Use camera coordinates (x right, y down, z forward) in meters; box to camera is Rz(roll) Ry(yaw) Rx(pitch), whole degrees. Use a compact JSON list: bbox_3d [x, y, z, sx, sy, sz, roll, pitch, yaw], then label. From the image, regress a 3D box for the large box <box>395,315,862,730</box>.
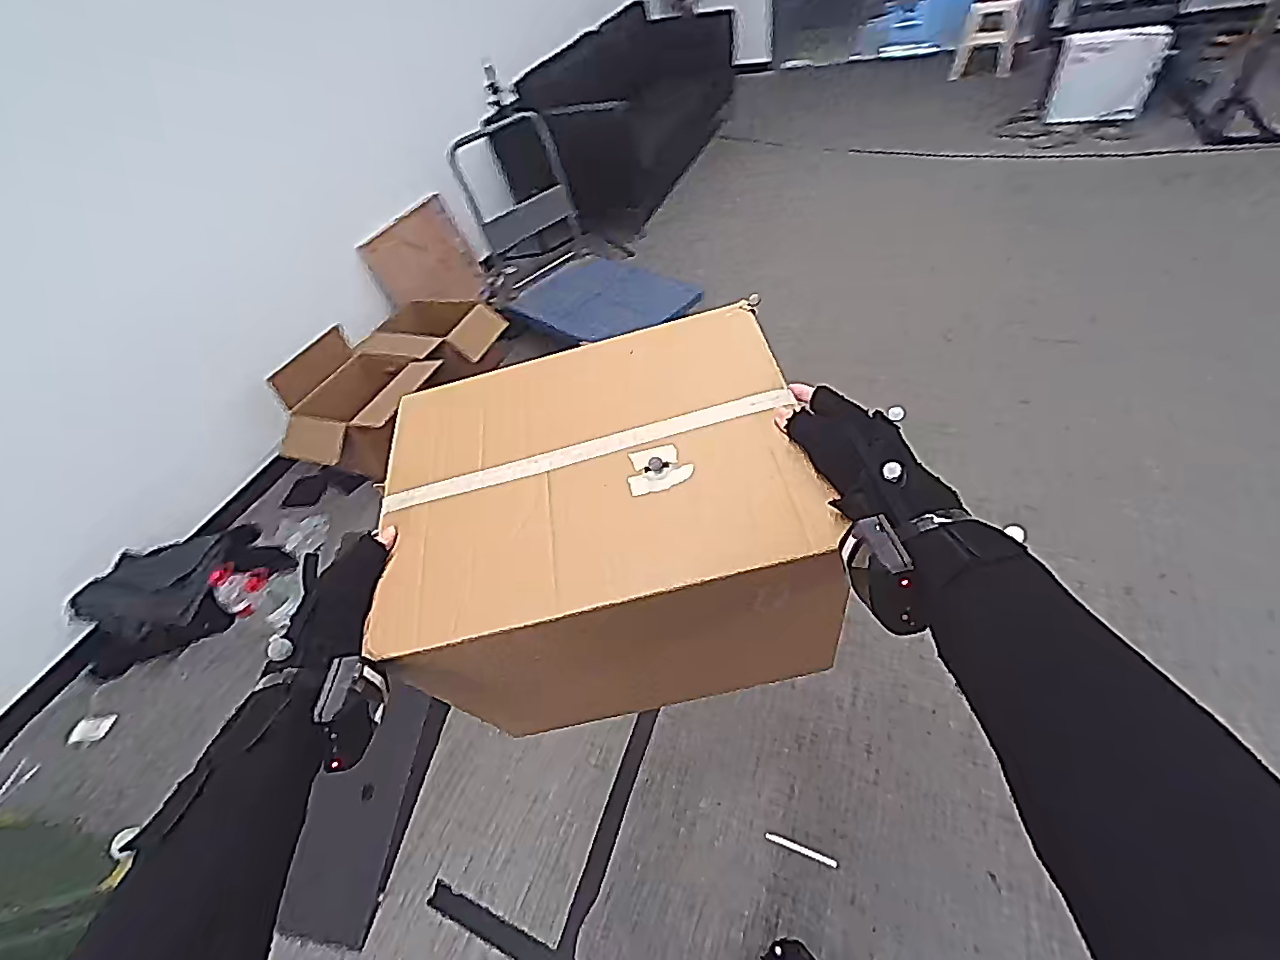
[{"bbox_3d":[-0.008,0.067,0.645,0.408,0.320,0.320,-14,53,4],"label":"large box"}]
